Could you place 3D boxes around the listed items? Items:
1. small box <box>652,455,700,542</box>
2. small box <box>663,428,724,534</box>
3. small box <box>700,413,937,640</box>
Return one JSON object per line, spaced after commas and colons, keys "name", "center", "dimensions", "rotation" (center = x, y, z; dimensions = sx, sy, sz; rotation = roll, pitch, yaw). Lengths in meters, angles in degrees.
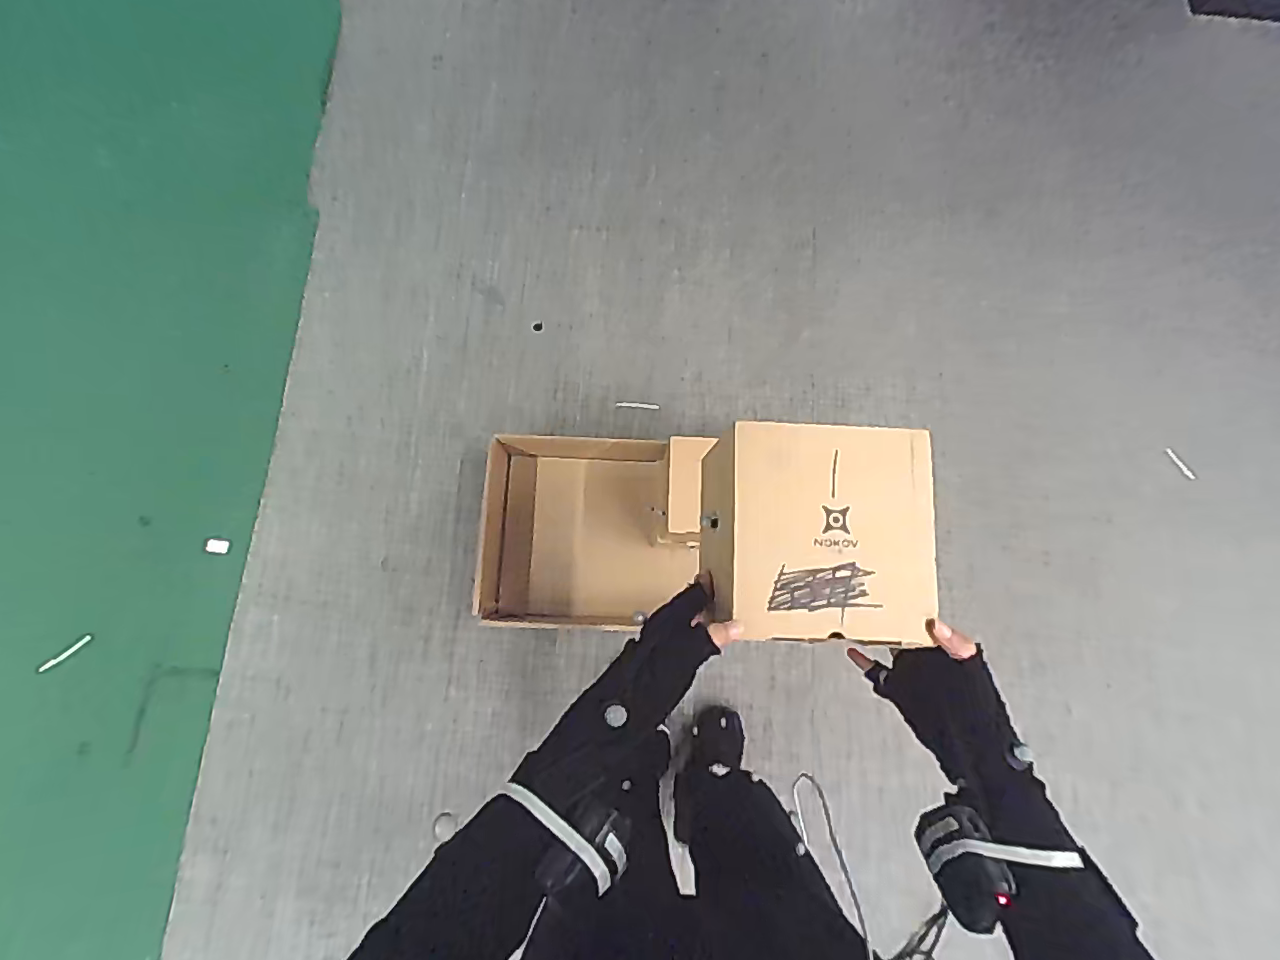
{"name": "small box", "center": [0.112, 0.046, 1.189], "dimensions": [0.168, 0.176, 0.179], "rotation": [-2, 79, -1]}
{"name": "small box", "center": [0.132, 0.012, 1.011], "dimensions": [0.168, 0.176, 0.179], "rotation": [3, 79, -1]}
{"name": "small box", "center": [0.152, 0.046, 0.511], "dimensions": [0.168, 0.176, 0.179], "rotation": [3, 81, -3]}
